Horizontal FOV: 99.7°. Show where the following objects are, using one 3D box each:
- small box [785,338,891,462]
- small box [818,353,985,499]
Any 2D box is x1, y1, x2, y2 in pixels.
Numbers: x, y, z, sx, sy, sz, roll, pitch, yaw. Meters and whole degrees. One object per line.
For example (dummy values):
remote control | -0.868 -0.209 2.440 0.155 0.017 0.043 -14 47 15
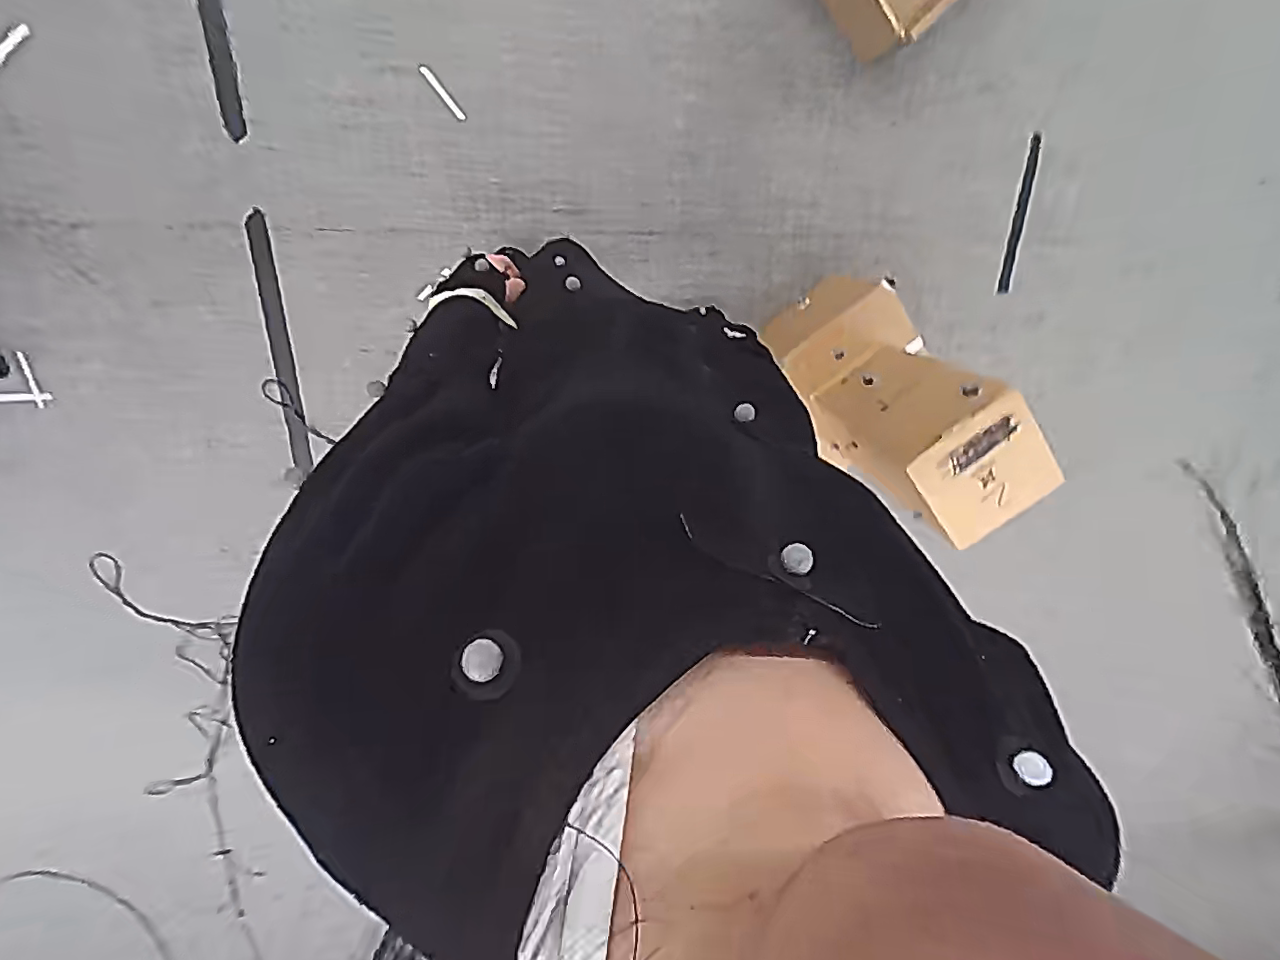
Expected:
small box | 0.421 -0.170 1.090 0.168 0.176 0.179 -37 110 10
small box | 0.442 -0.104 0.941 0.168 0.176 0.179 -37 110 10
